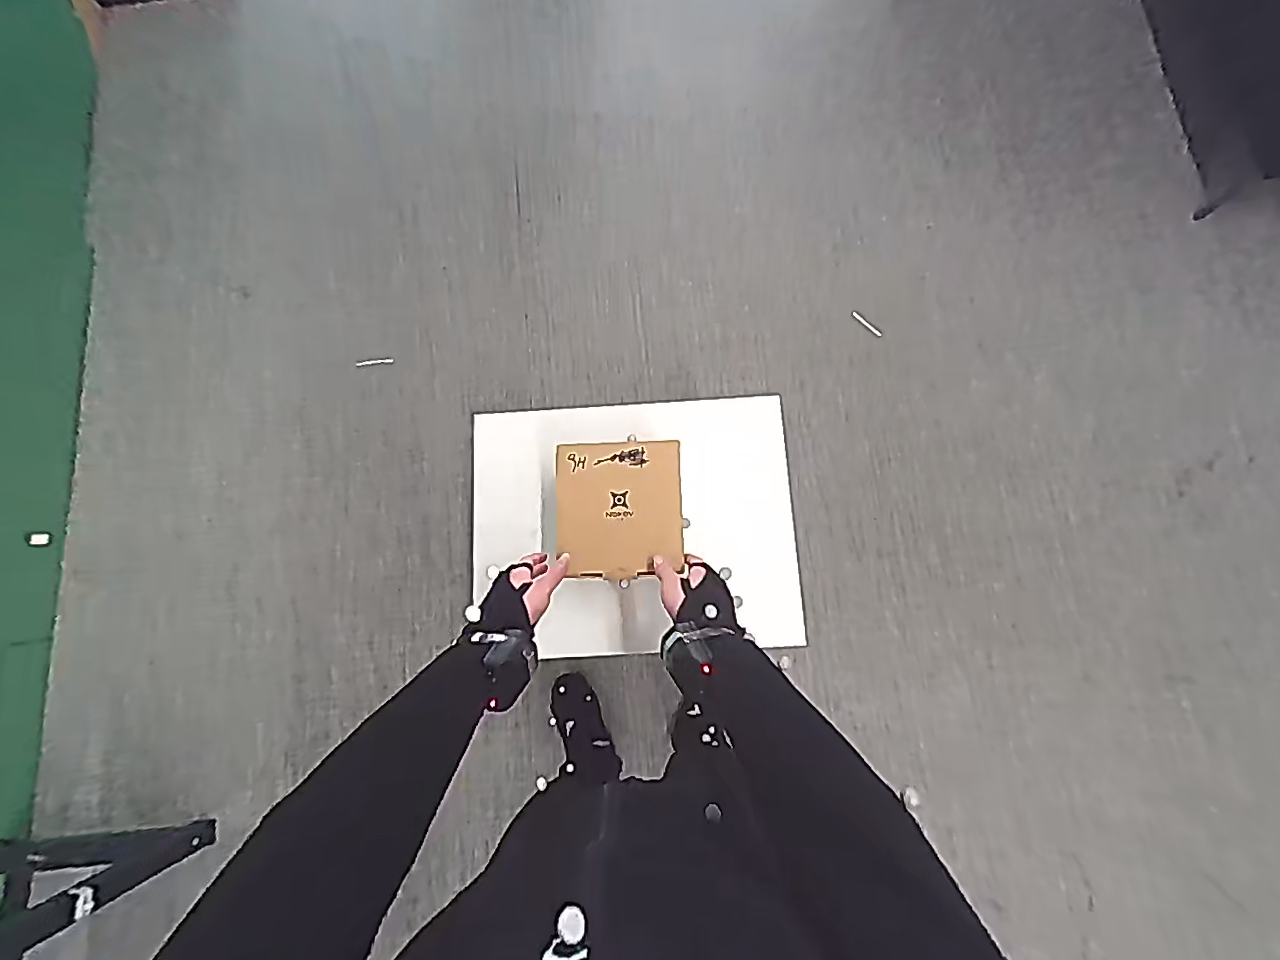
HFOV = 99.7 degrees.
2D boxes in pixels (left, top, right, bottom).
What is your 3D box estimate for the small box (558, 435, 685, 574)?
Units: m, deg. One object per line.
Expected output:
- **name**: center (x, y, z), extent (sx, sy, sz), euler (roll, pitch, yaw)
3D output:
- **small box**: center (-0.021, 0.045, 0.785), extent (0.168, 0.176, 0.179), euler (-4, 78, 2)
